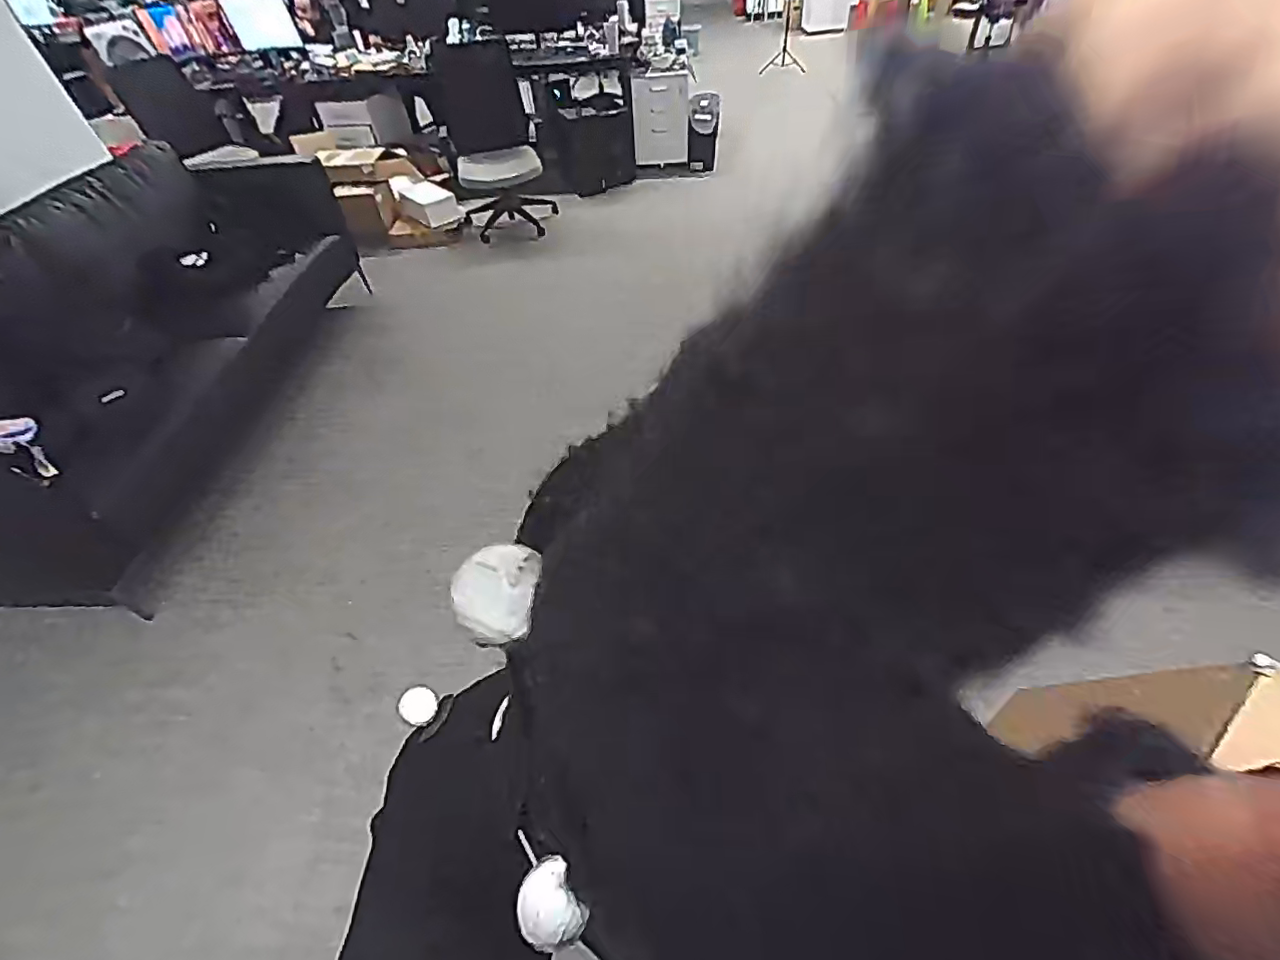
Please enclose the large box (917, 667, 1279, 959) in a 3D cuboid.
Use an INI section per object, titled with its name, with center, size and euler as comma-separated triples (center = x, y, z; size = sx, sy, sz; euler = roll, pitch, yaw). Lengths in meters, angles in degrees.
[large box]
center = 0.617, 0.456, 0.613
size = 0.320, 0.408, 0.320
euler = -41, 71, -16
